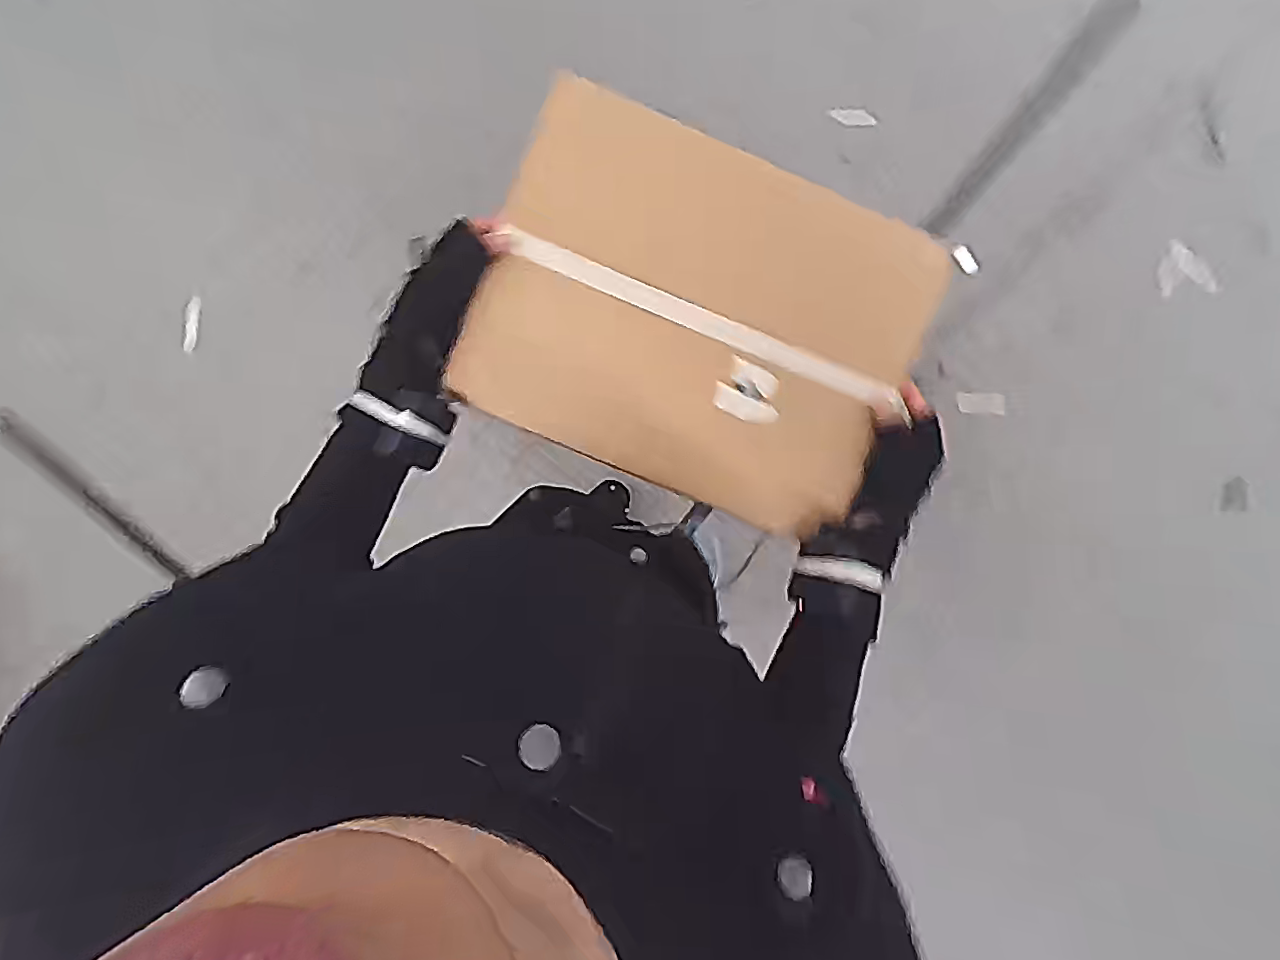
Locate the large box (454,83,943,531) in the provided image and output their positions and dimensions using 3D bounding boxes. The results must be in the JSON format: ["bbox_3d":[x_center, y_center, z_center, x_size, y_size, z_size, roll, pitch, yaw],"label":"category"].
[{"bbox_3d":[0.050,-0.168,0.666,0.408,0.320,0.320,22,93,-4],"label":"large box"}]
